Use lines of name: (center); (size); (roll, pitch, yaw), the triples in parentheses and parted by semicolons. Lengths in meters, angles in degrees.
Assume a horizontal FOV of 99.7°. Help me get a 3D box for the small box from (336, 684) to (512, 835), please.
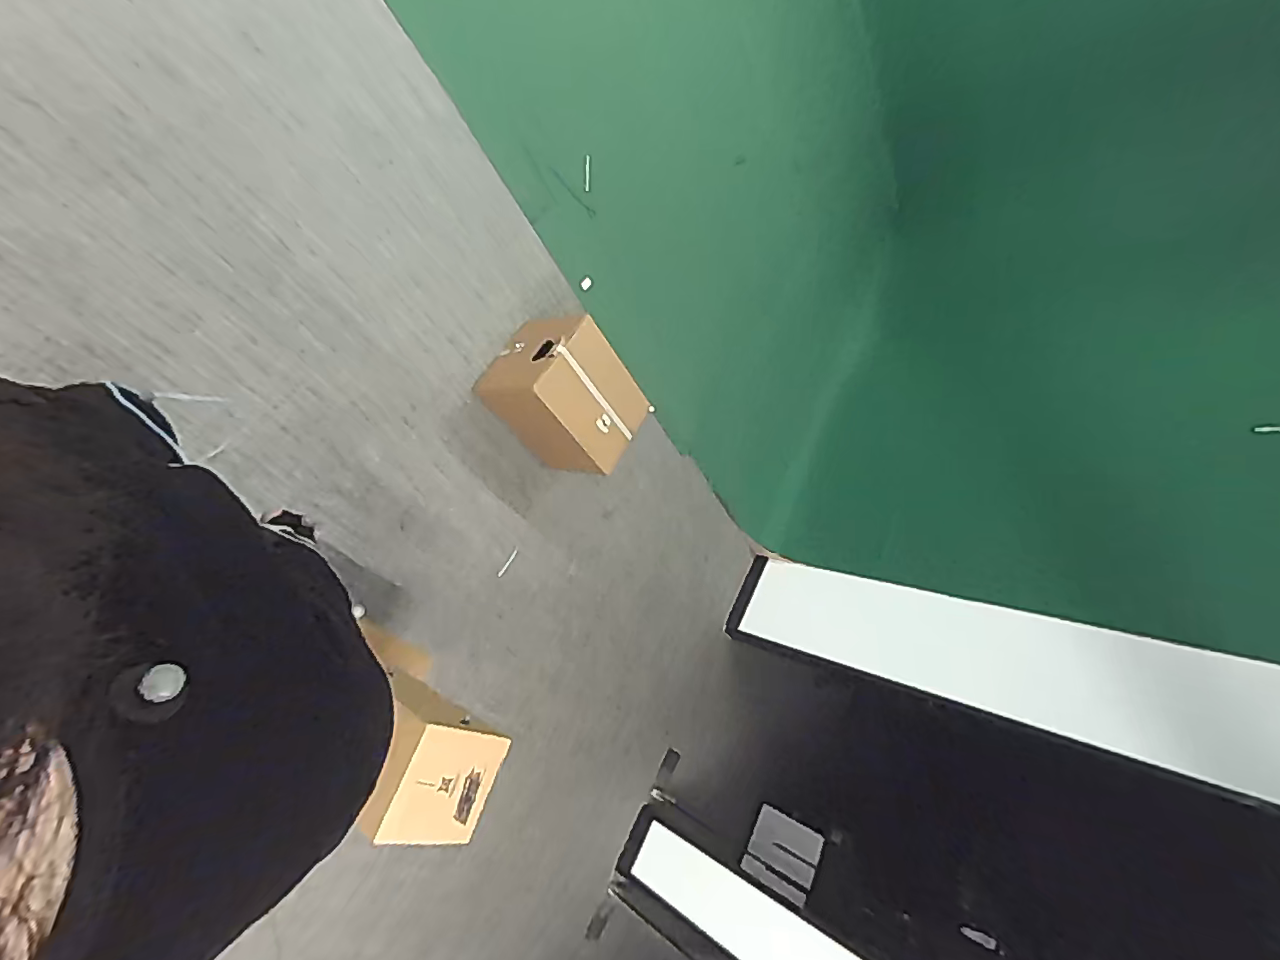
small box: (-0.355, 0.456, 0.893); (0.179, 0.176, 0.168); (40, 65, -43)

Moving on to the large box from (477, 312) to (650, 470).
large box: (-0.238, -0.281, 1.762); (0.408, 0.320, 0.320); (52, 59, -40)
